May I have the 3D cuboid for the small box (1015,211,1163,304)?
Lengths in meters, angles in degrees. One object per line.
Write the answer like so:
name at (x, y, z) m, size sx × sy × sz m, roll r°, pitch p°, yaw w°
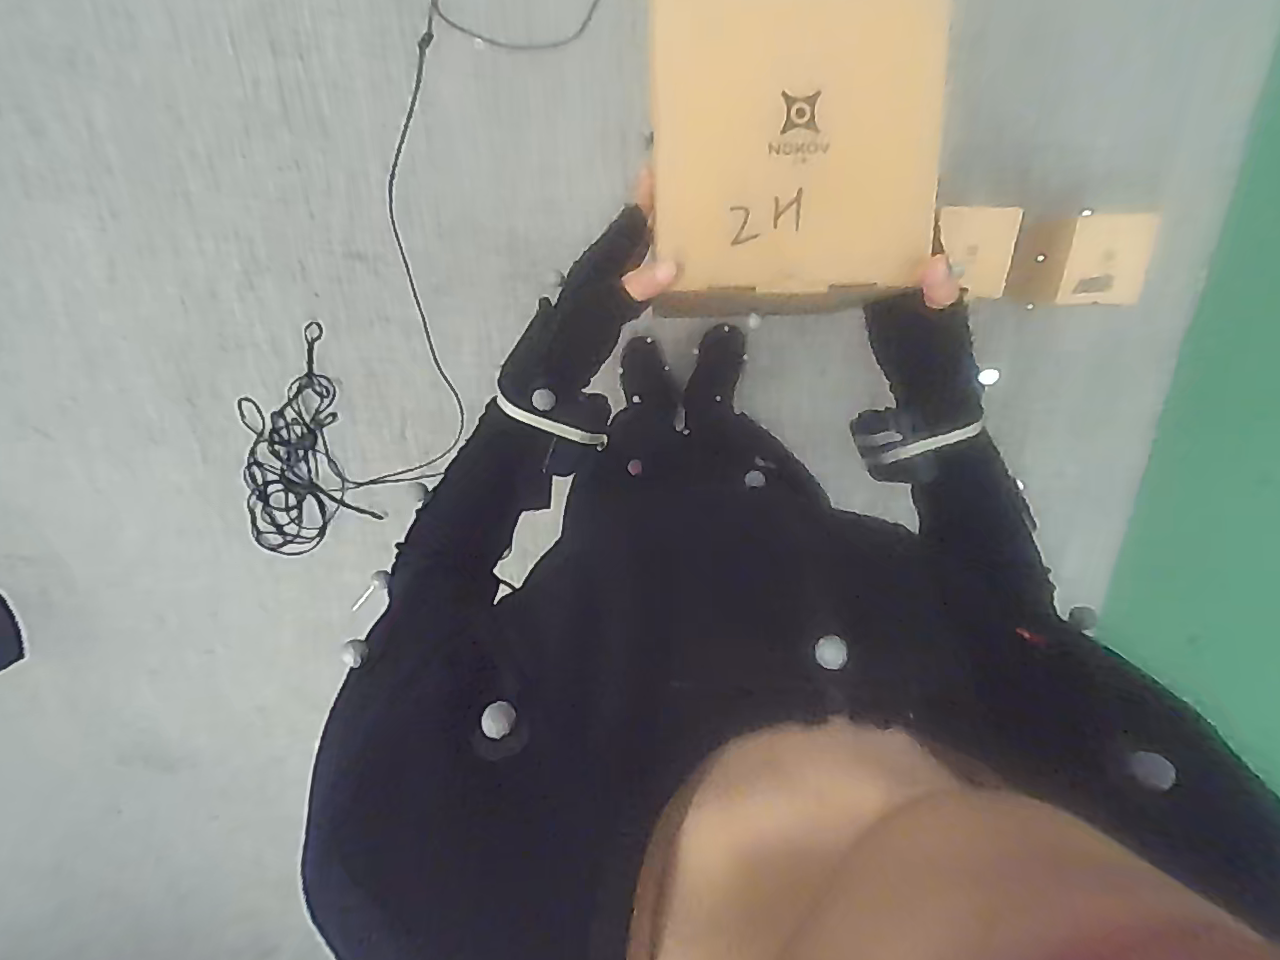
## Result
small box at (0.956, -0.480, 1.174) m, size 0.168 × 0.176 × 0.179 m, roll 2°, pitch 110°, yaw 3°

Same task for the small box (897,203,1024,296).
small box at (0.688, -0.500, 1.186) m, size 0.168 × 0.176 × 0.179 m, roll 2°, pitch 111°, yaw 3°
